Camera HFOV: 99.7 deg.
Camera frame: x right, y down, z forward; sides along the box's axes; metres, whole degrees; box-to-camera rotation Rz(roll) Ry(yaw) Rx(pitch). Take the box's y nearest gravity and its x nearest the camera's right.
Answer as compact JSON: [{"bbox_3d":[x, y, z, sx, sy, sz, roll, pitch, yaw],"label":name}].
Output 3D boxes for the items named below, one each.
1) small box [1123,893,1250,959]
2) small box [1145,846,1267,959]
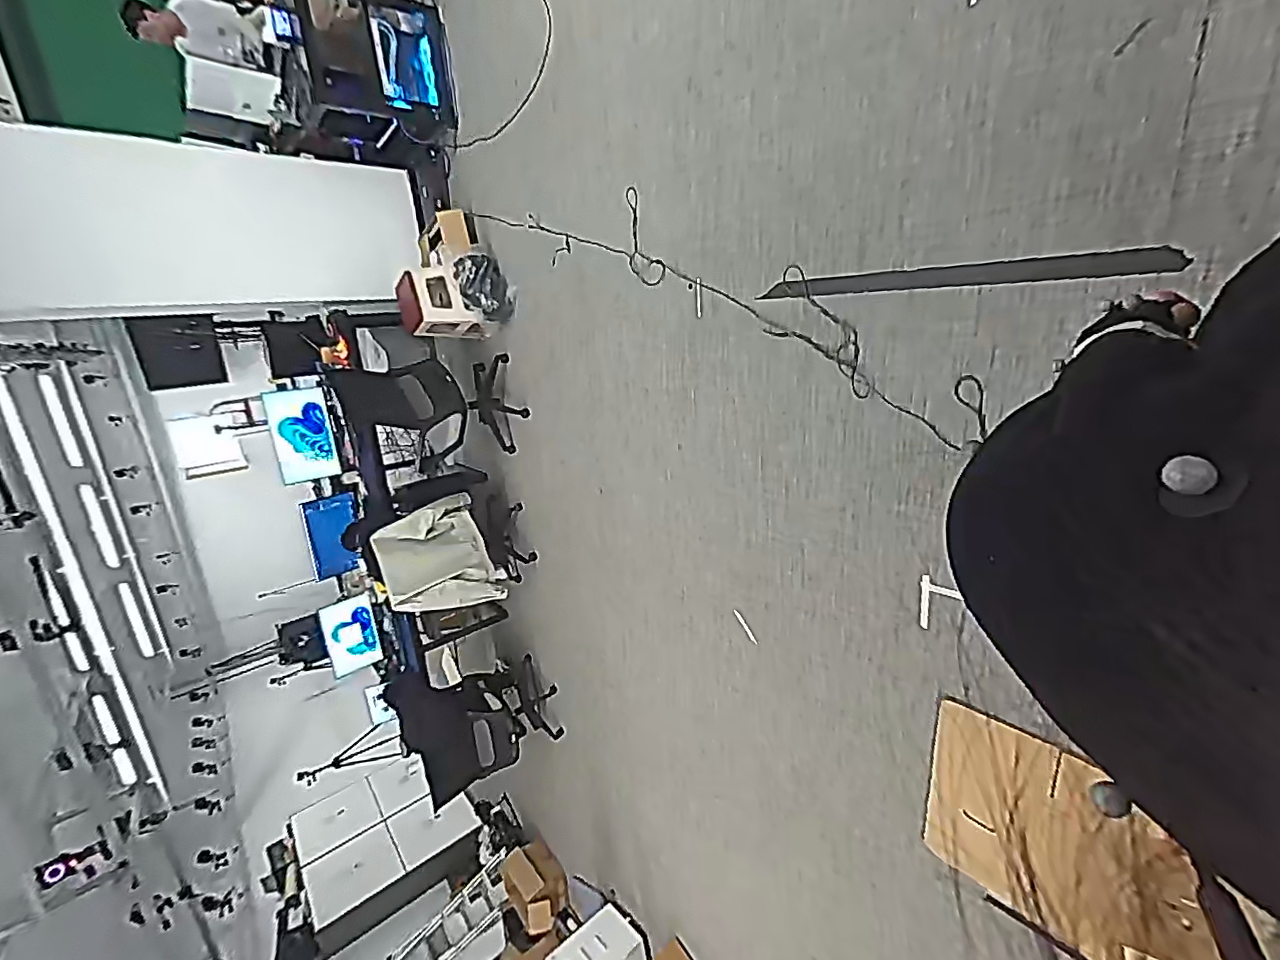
[{"bbox_3d":[1.102,0.997,1.084,0.168,0.176,0.179,-4,100,51],"label":"small box"},{"bbox_3d":[1.231,0.953,1.176,0.168,0.176,0.179,-5,99,52],"label":"small box"}]
